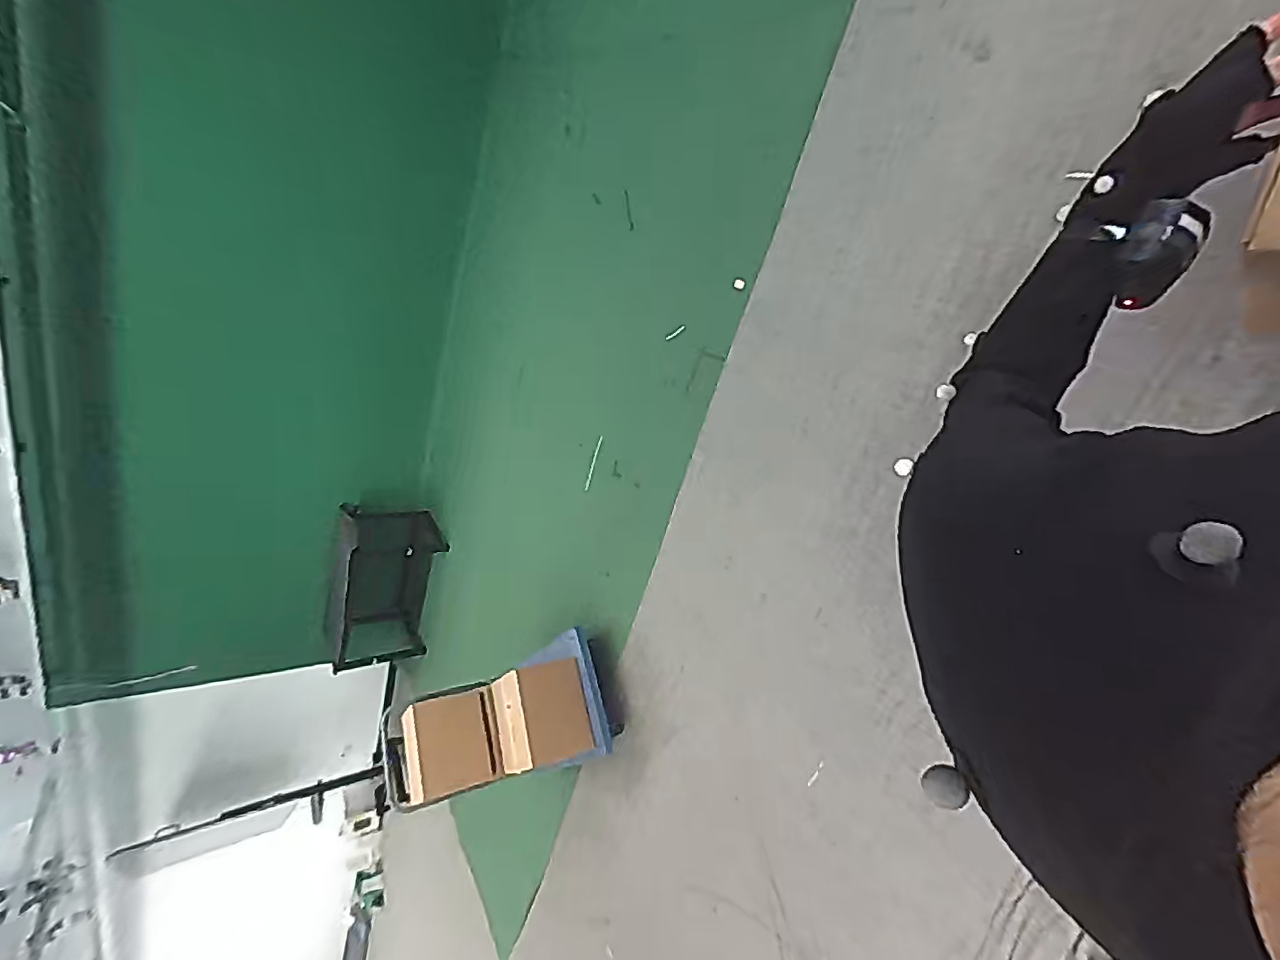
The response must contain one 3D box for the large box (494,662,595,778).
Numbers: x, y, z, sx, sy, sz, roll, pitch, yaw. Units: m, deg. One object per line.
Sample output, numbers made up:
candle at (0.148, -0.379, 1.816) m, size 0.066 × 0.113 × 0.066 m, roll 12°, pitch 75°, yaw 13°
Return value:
large box at (-0.440, 1.086, 2.464) m, size 0.320 × 0.320 × 0.408 m, roll -41°, pitch 57°, yaw 45°
